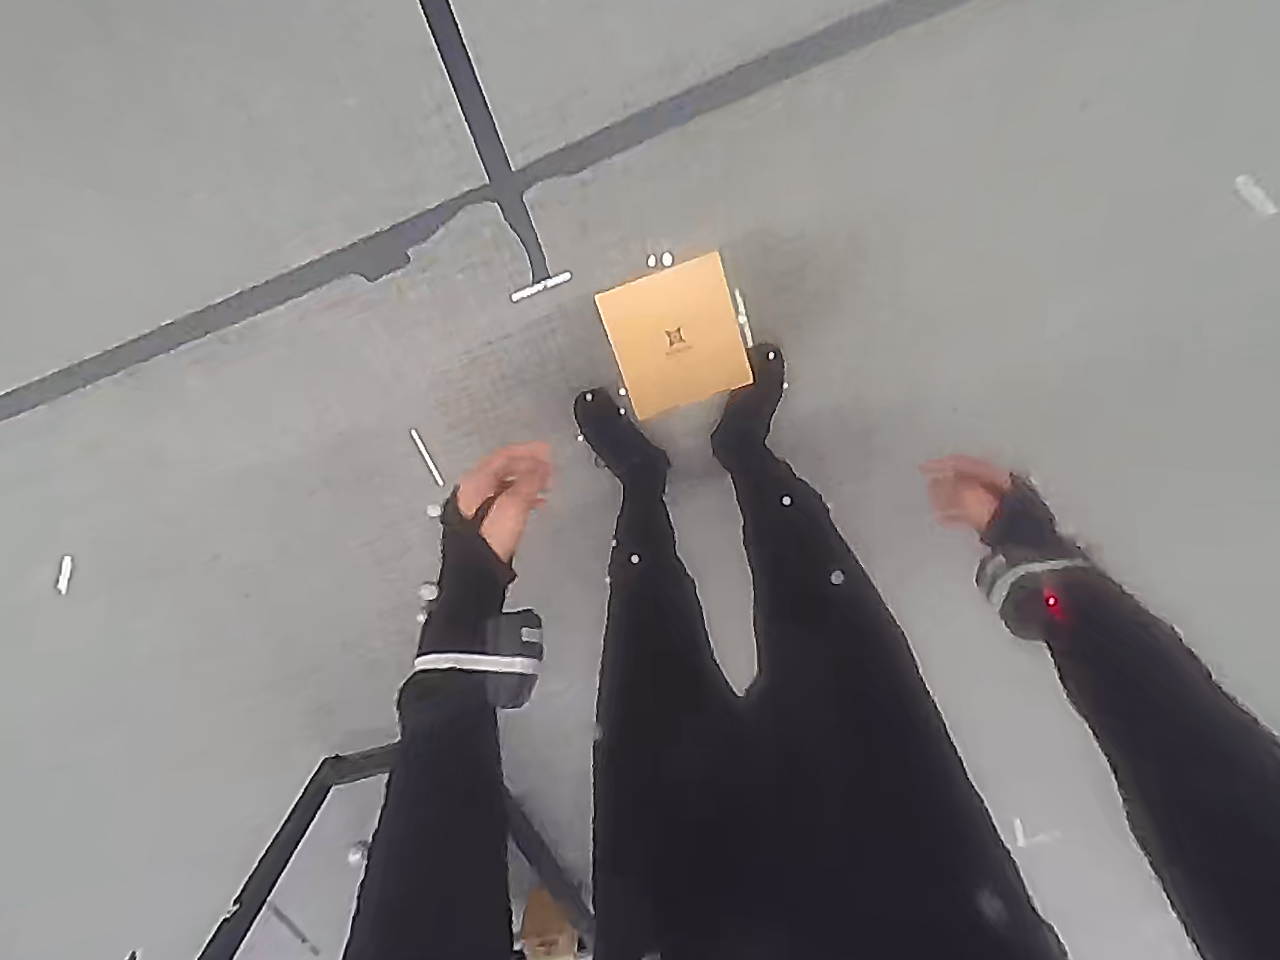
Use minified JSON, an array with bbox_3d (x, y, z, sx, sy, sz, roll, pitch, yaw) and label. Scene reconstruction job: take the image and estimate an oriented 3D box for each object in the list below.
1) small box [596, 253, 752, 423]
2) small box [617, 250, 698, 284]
[{"bbox_3d":[0.045,-0.207,0.771,0.168,0.176,0.179,-18,113,8],"label":"small box"},{"bbox_3d":[0.055,-0.338,1.071,0.168,0.176,0.179,-21,113,10],"label":"small box"}]
